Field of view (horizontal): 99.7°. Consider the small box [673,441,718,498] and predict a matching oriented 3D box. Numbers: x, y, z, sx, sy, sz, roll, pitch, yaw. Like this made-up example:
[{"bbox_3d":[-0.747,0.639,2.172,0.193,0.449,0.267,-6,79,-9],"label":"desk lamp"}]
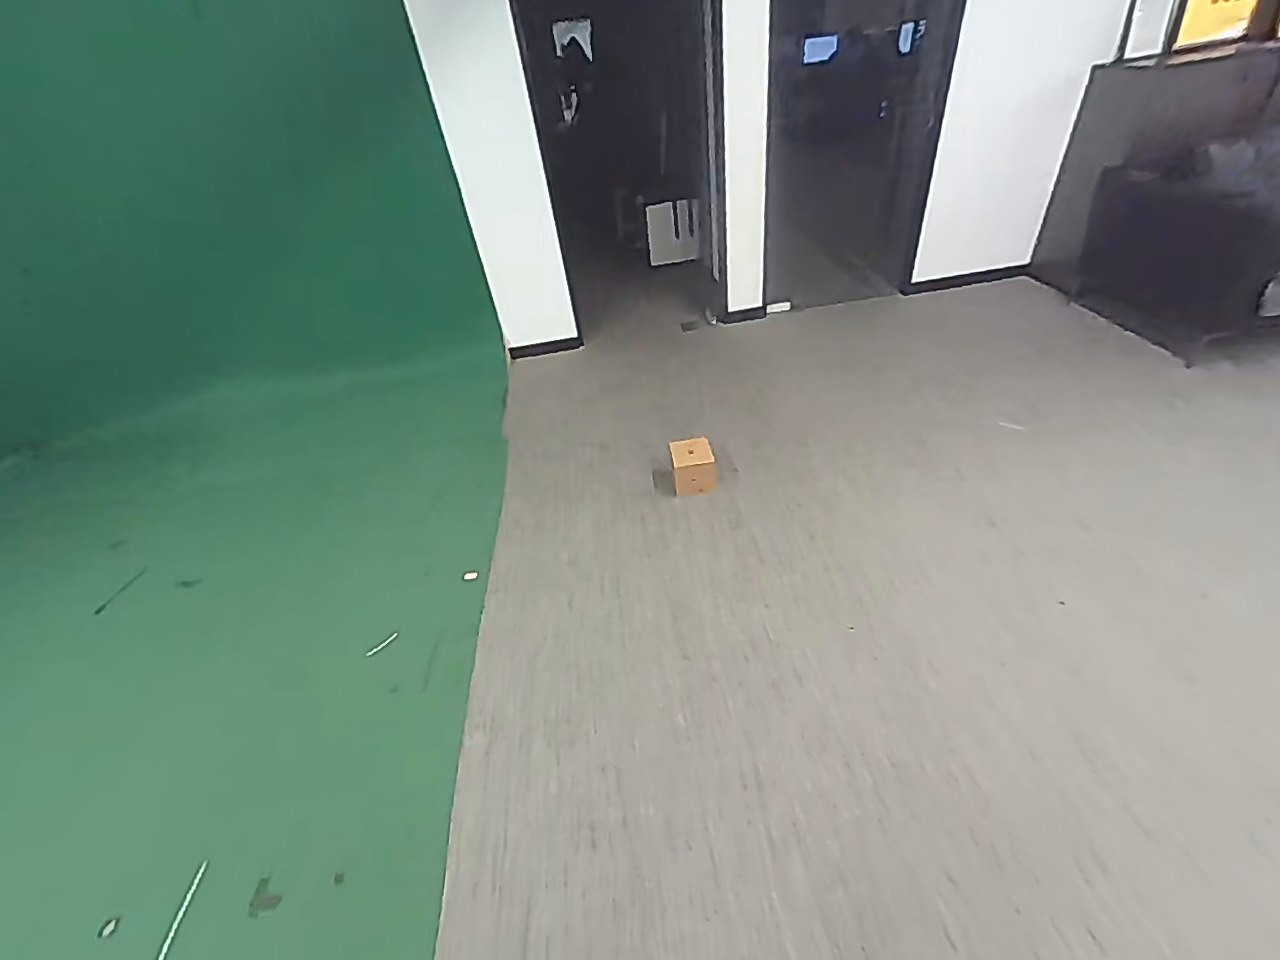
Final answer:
[{"bbox_3d":[0.236,-0.039,2.293,0.168,0.176,0.179,-8,40,1],"label":"small box"}]
